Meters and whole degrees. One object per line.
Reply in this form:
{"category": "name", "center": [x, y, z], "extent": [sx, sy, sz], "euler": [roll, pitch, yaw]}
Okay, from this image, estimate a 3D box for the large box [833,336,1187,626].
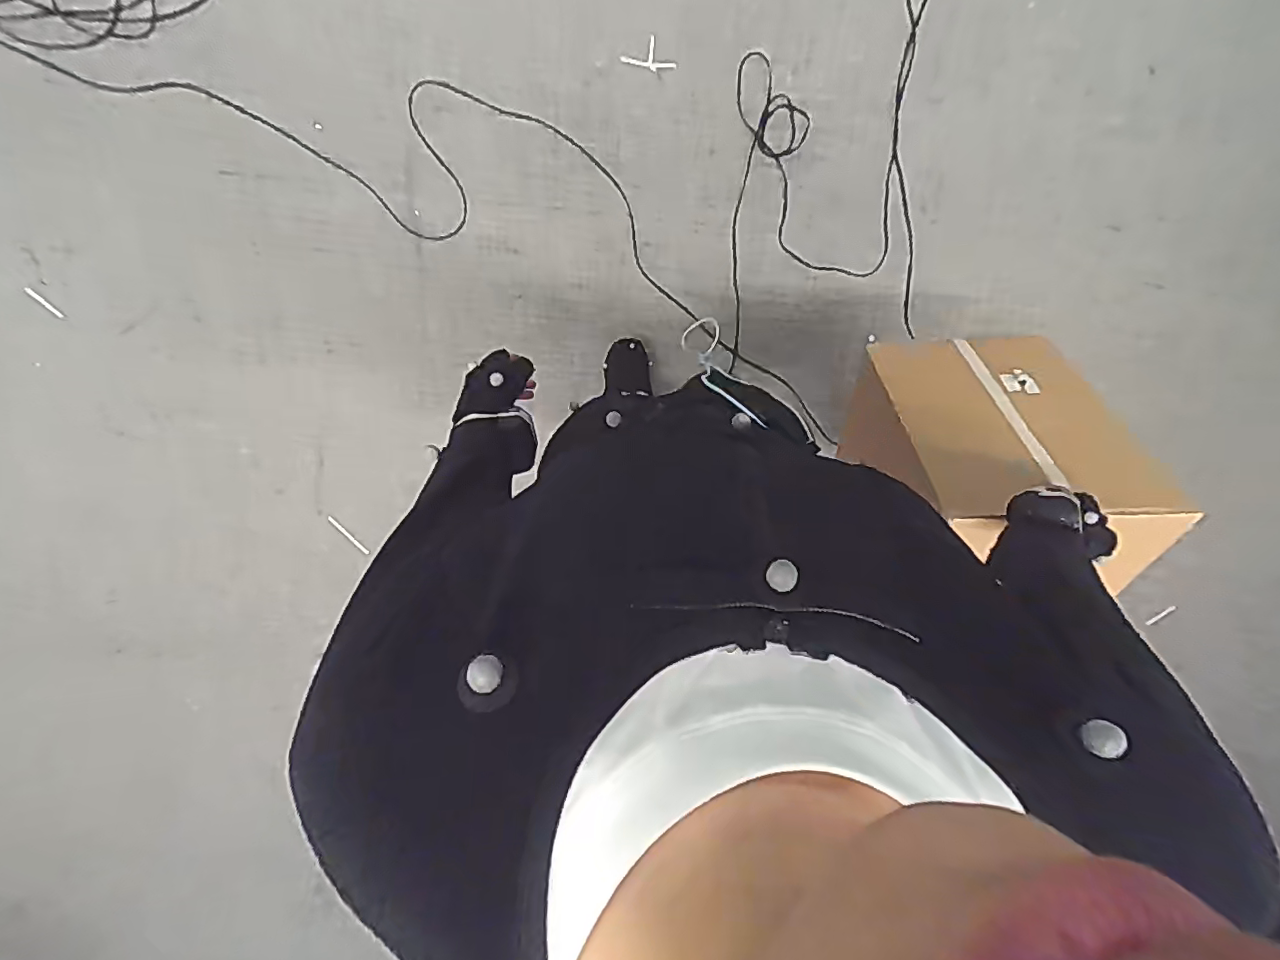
{"category": "large box", "center": [0.557, -0.002, 0.933], "extent": [0.320, 0.408, 0.320], "euler": [-1, 136, 3]}
